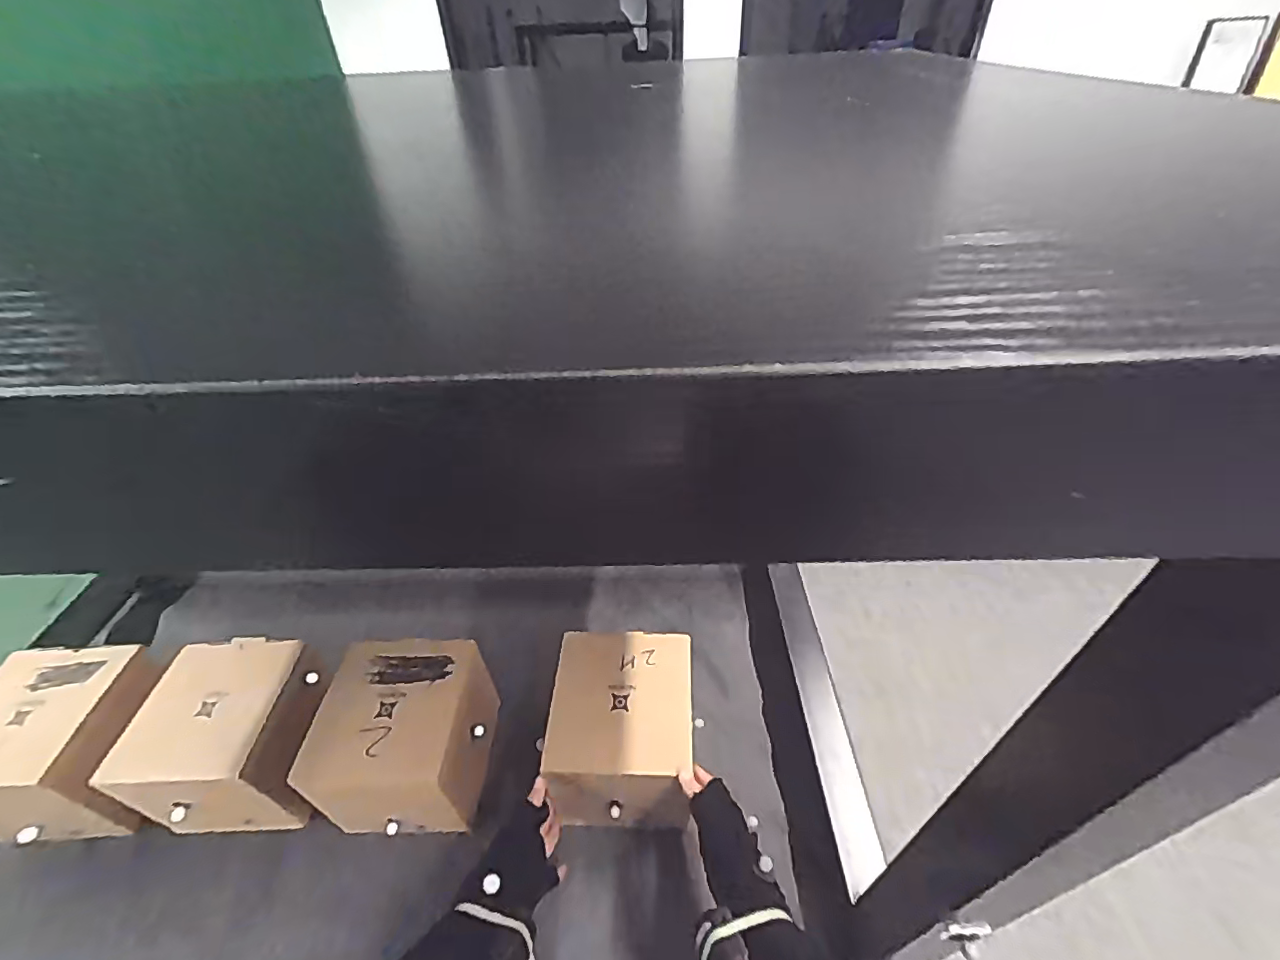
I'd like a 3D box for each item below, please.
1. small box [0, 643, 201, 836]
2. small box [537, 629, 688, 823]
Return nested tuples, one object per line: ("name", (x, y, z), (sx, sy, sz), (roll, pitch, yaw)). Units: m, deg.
("small box", (-0.731, 0.336, 0.706), (0.168, 0.176, 0.179), (-3, 41, 0))
("small box", (-0.022, 0.312, 0.688), (0.168, 0.176, 0.179), (1, 40, 4))
